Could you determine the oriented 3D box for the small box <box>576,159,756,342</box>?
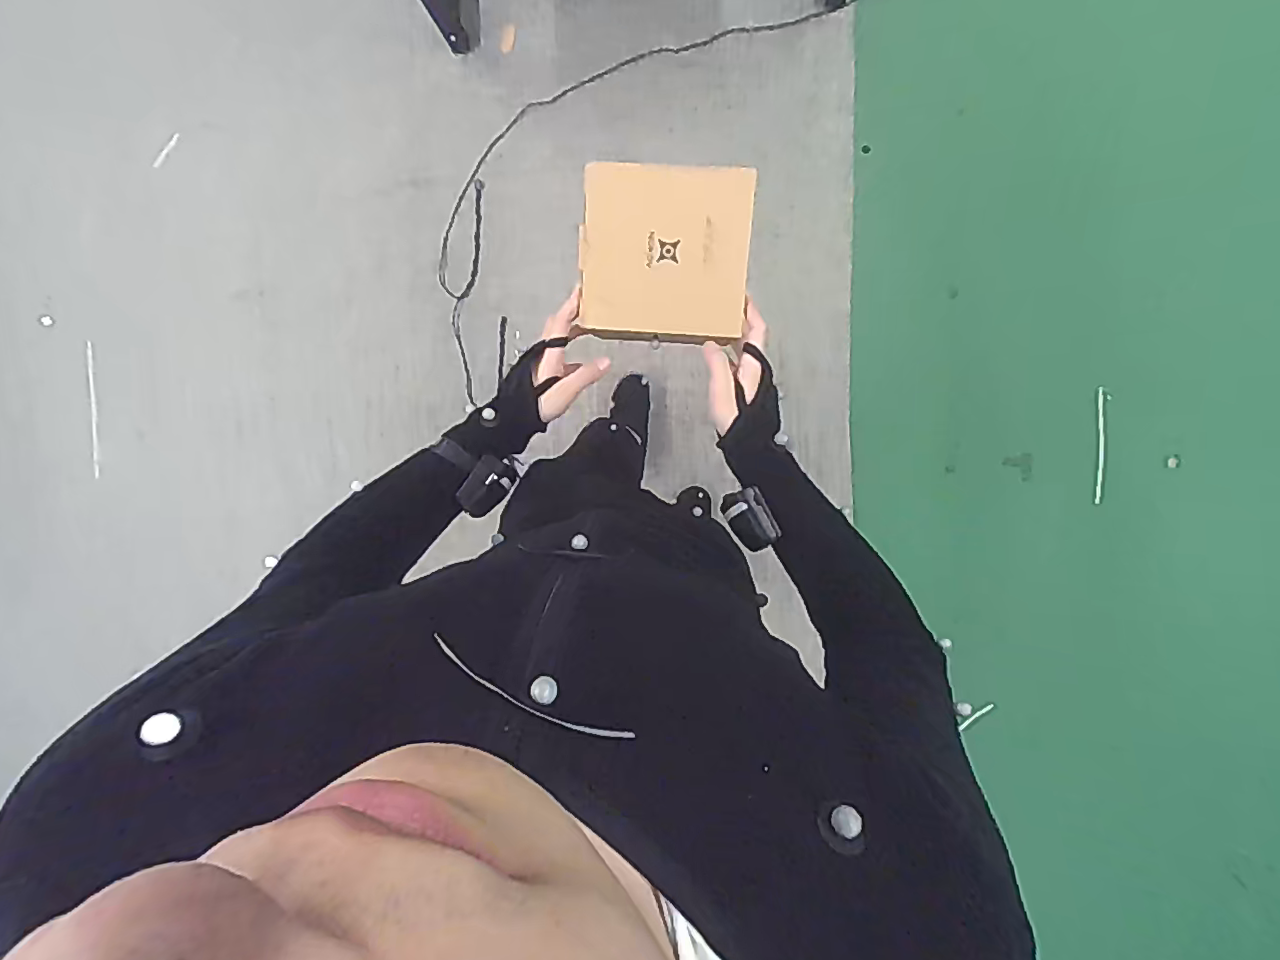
[{"bbox_3d":[0.031,-0.255,0.637,0.179,0.176,0.168,5,102,4],"label":"small box"}]
